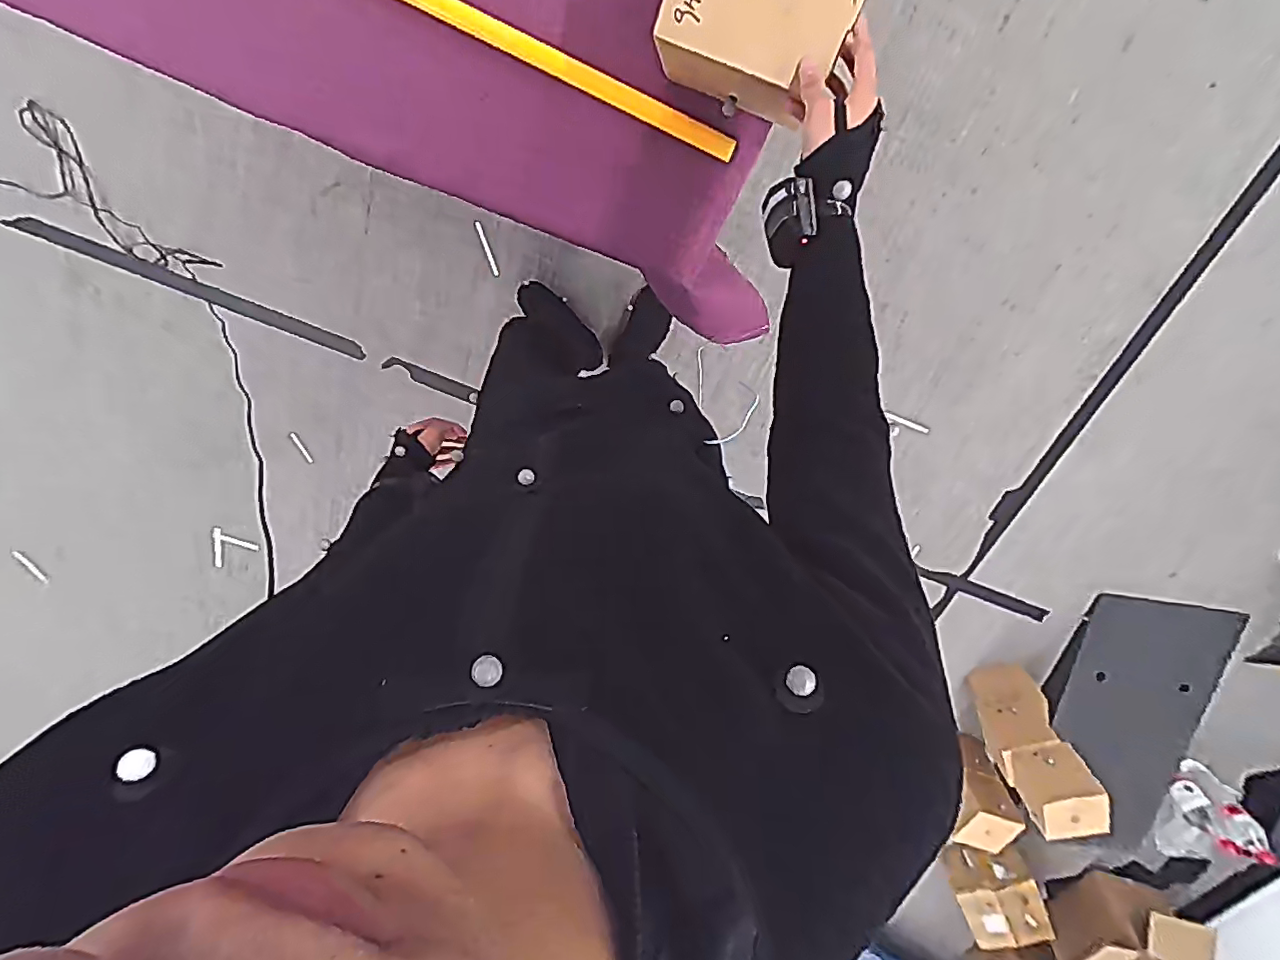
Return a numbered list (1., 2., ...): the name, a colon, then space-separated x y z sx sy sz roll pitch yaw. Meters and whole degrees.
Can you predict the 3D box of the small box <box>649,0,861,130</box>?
1. small box: 0.126 -0.494 0.570 0.179 0.176 0.168 21 116 -3
